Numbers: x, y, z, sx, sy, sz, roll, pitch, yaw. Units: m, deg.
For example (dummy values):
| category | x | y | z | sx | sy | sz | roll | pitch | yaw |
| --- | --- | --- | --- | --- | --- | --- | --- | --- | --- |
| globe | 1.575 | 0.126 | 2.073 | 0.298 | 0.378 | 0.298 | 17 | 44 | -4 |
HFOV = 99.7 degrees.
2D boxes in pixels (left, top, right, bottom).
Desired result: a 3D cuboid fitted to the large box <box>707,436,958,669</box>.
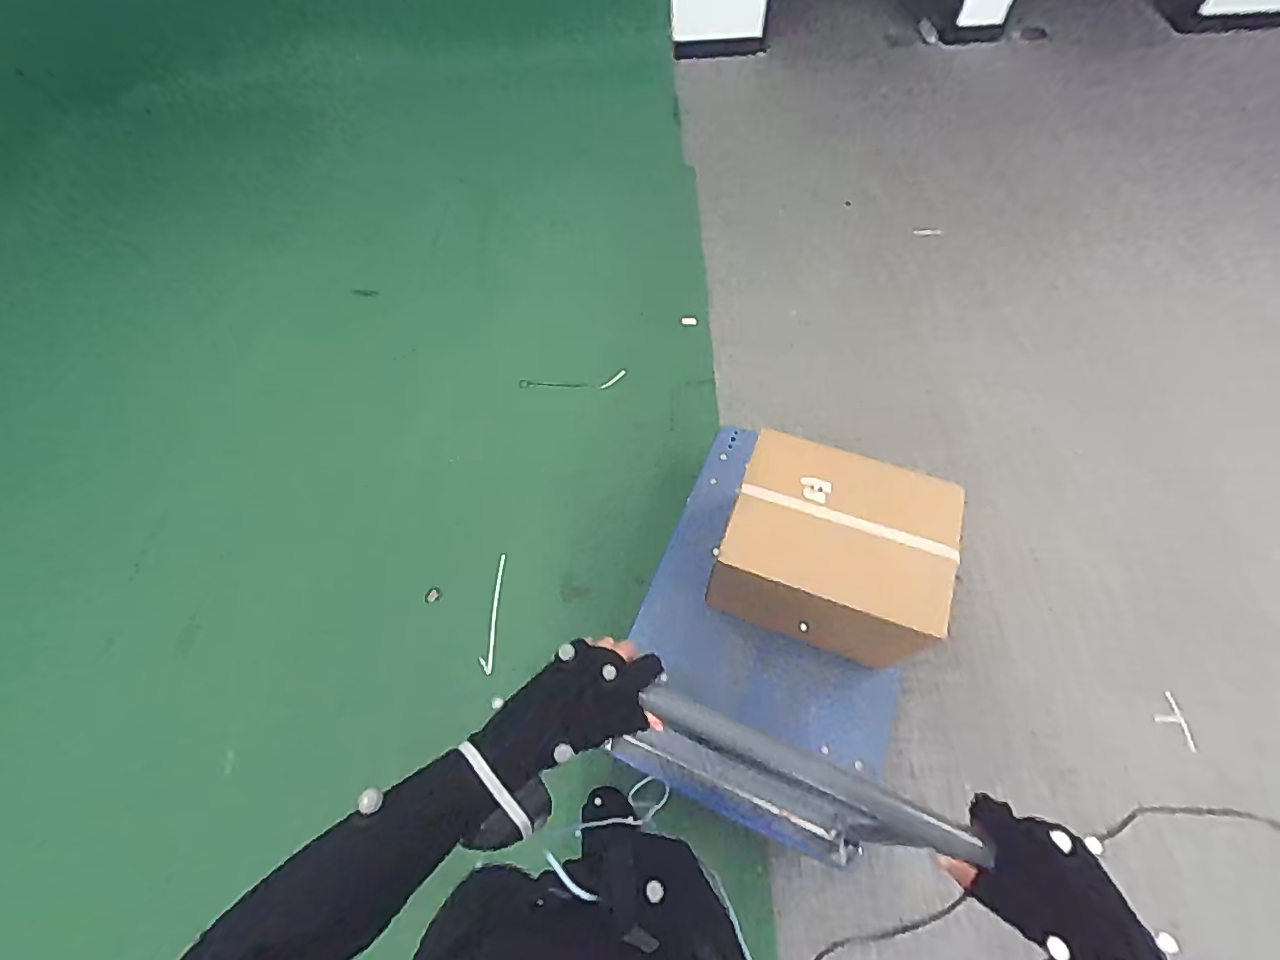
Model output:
| category | x | y | z | sx | sy | sz | roll | pitch | yaw |
| --- | --- | --- | --- | --- | --- | --- | --- | --- | --- |
| large box | 0.382 | 0.161 | 1.141 | 0.408 | 0.320 | 0.320 | 18 | 63 | 13 |
